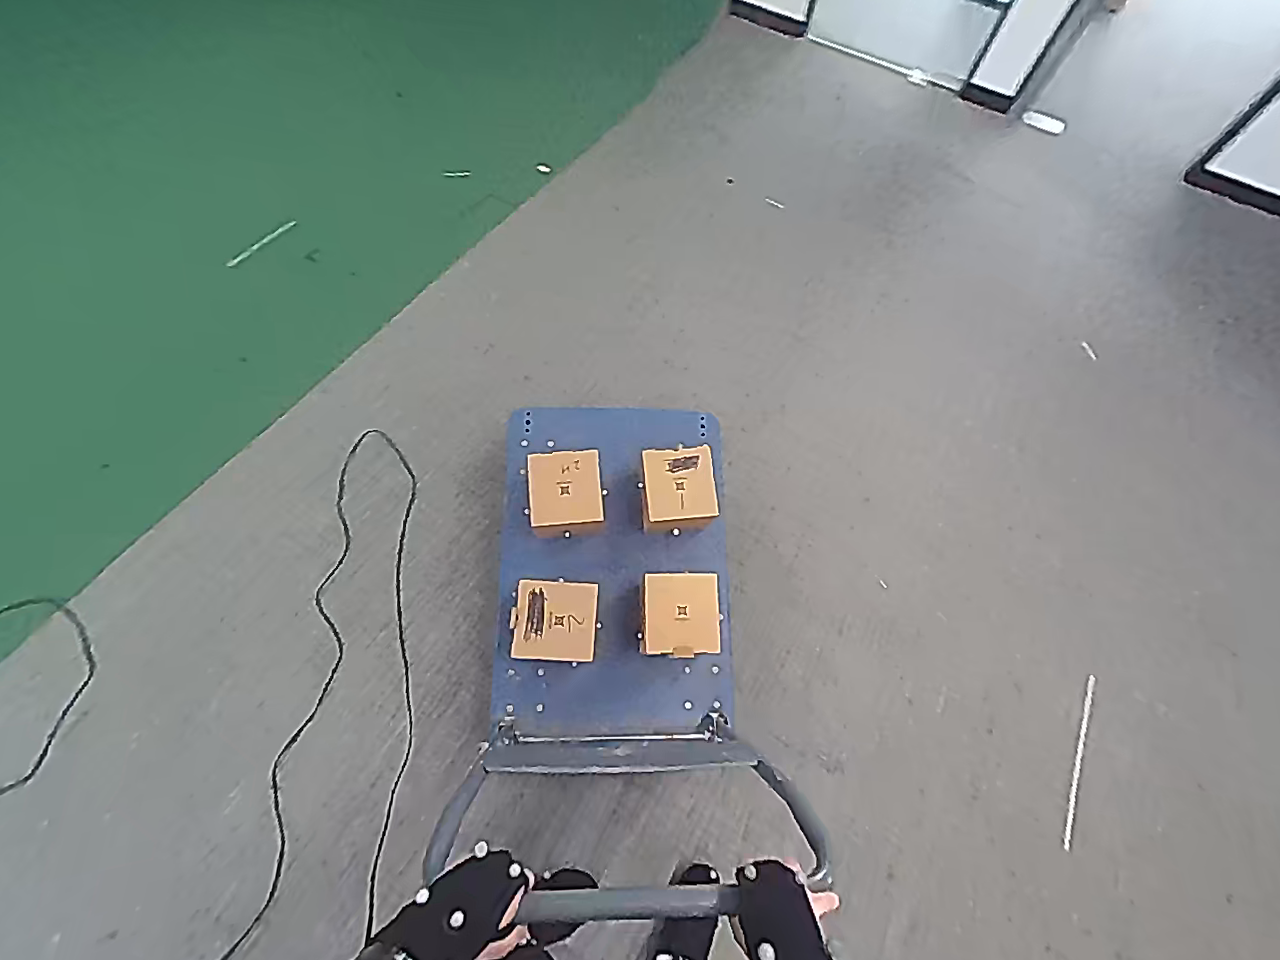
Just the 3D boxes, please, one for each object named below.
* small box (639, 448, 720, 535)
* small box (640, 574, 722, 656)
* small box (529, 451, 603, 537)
[{"bbox_3d":[0.091,0.032,1.344,0.168,0.176,0.179,-4,75,-6],"label":"small box"},{"bbox_3d":[0.089,0.317,1.262,0.168,0.176,0.179,1,74,-5],"label":"small box"},{"bbox_3d":[-0.177,0.042,1.318,0.168,0.176,0.179,-4,74,-7],"label":"small box"}]
